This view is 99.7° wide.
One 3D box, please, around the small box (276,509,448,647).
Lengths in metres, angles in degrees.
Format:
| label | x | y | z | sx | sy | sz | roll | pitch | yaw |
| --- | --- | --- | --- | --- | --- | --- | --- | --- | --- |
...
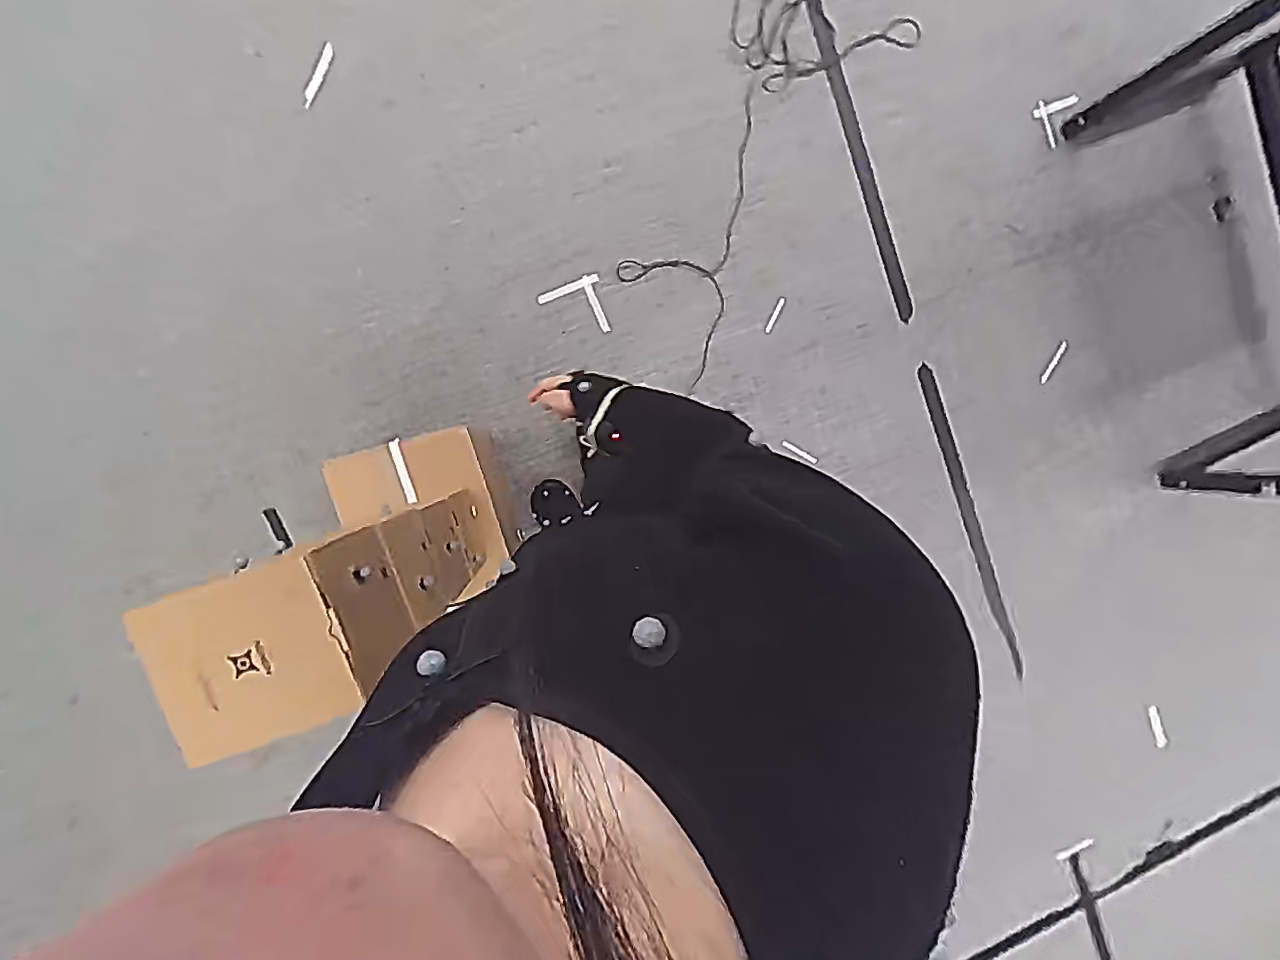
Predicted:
| label | x | y | z | sx | sy | sz | roll | pitch | yaw |
| --- | --- | --- | --- | --- | --- | --- | --- | --- | --- |
| small box | -0.383 | 0.149 | 0.748 | 0.179 | 0.176 | 0.168 | -19 | 96 | -4 |

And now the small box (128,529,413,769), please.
| label | x | y | z | sx | sy | sz | roll | pitch | yaw |
| --- | --- | --- | --- | --- | --- | --- | --- | --- | --- |
| small box | -0.370 | 0.163 | 0.586 | 0.179 | 0.176 | 0.168 | -20 | 95 | -3 |

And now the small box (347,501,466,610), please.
| label | x | y | z | sx | sy | sz | roll | pitch | yaw |
| --- | --- | --- | --- | --- | --- | --- | --- | --- | --- |
| small box | -0.404 | 0.140 | 0.909 | 0.179 | 0.176 | 0.168 | -17 | 96 | -6 |
